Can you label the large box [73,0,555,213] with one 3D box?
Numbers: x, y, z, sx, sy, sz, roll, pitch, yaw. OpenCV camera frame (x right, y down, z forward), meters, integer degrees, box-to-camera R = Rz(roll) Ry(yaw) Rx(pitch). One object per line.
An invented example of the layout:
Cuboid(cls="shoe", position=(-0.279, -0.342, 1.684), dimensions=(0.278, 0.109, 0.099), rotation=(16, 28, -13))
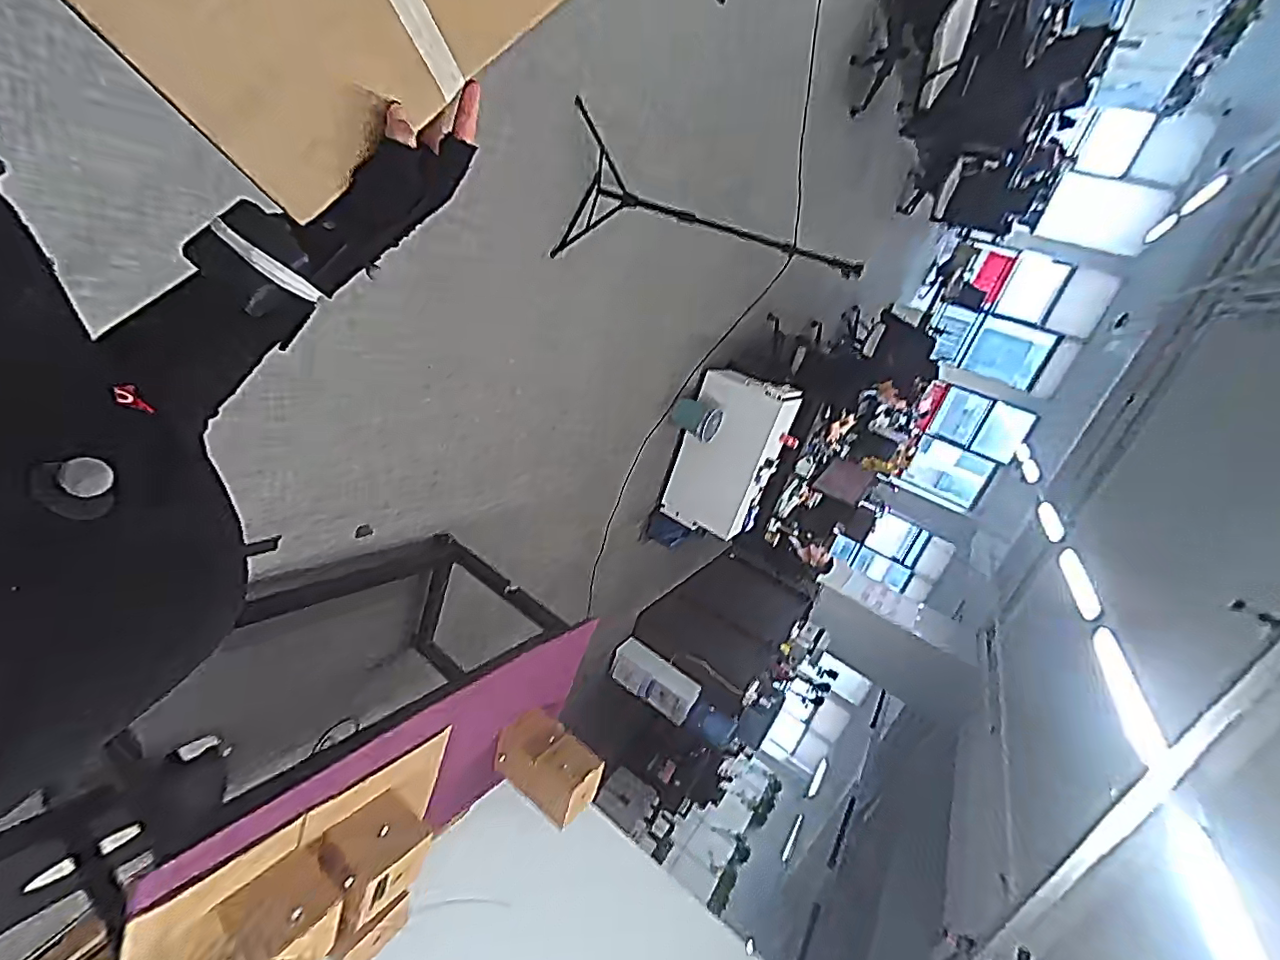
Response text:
Cuboid(cls="large box", position=(-0.299, -0.468, 0.309), dimensions=(0.320, 0.320, 0.408), rotation=(-44, 156, -5))
